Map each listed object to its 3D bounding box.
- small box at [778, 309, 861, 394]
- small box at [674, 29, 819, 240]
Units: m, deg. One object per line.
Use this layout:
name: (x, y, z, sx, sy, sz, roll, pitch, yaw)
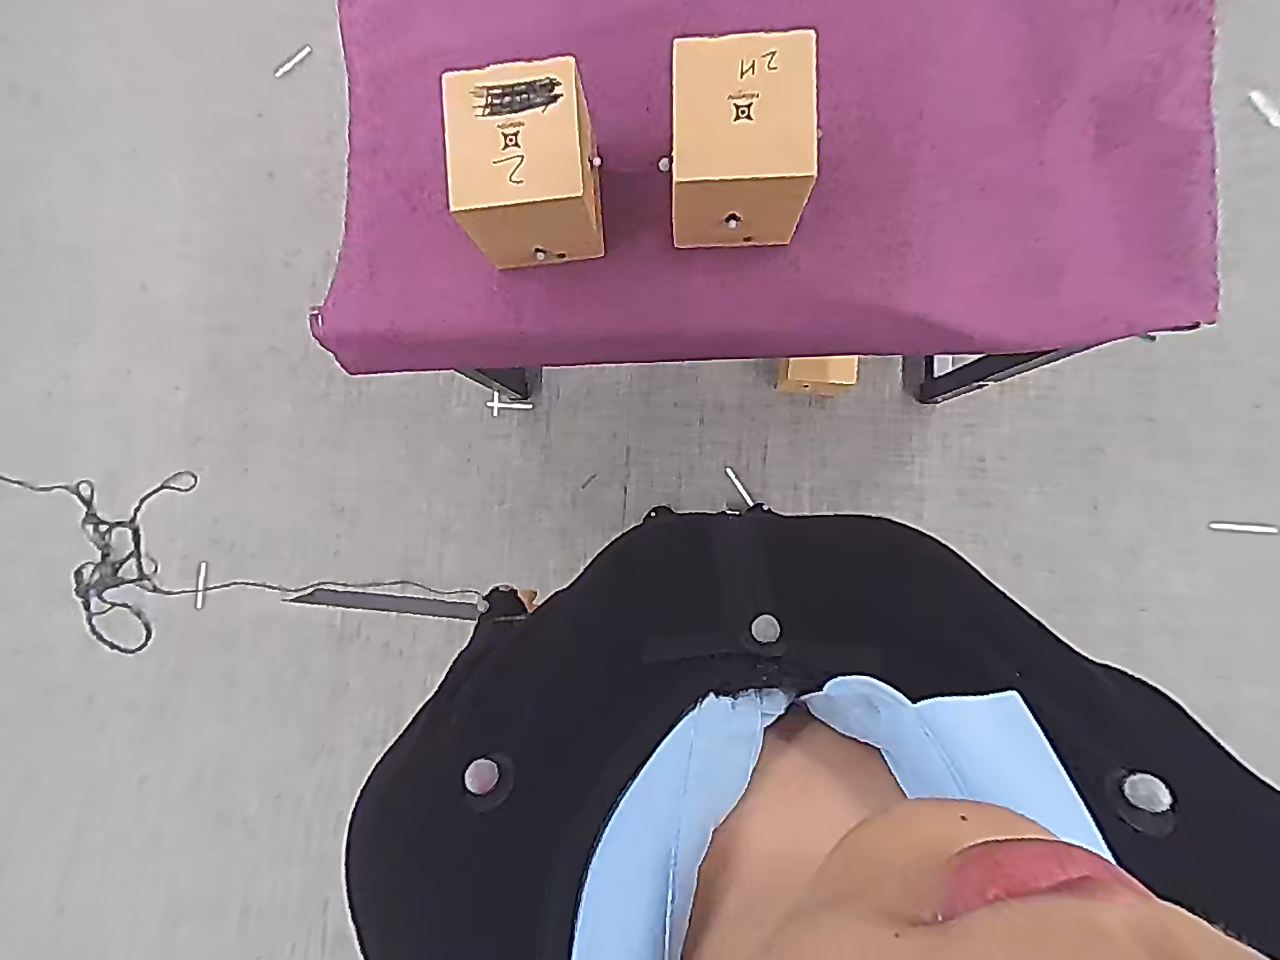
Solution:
small box: (0.461, -0.328, 1.410, 0.168, 0.176, 0.179, 6, 88, 5)
small box: (0.129, -0.431, 0.705, 0.168, 0.176, 0.179, 0, 87, 4)
